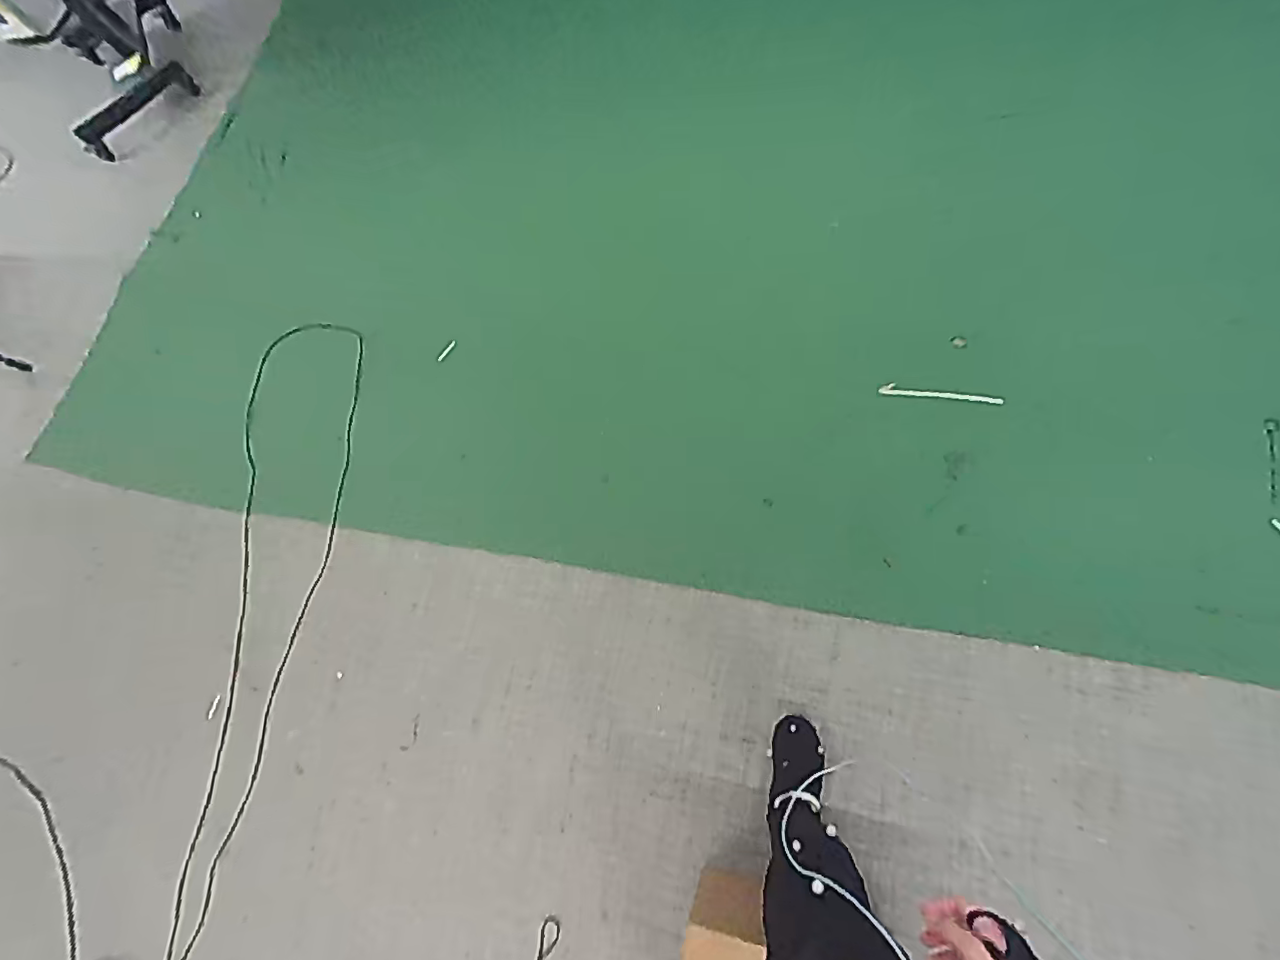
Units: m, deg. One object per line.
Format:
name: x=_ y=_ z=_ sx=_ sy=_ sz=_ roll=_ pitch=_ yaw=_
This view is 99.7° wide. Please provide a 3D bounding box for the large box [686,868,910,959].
large box: x=0.295 y=1.031 z=1.069 sx=0.408 sy=0.320 sz=0.320 roll=5 pitch=72 yaw=13
